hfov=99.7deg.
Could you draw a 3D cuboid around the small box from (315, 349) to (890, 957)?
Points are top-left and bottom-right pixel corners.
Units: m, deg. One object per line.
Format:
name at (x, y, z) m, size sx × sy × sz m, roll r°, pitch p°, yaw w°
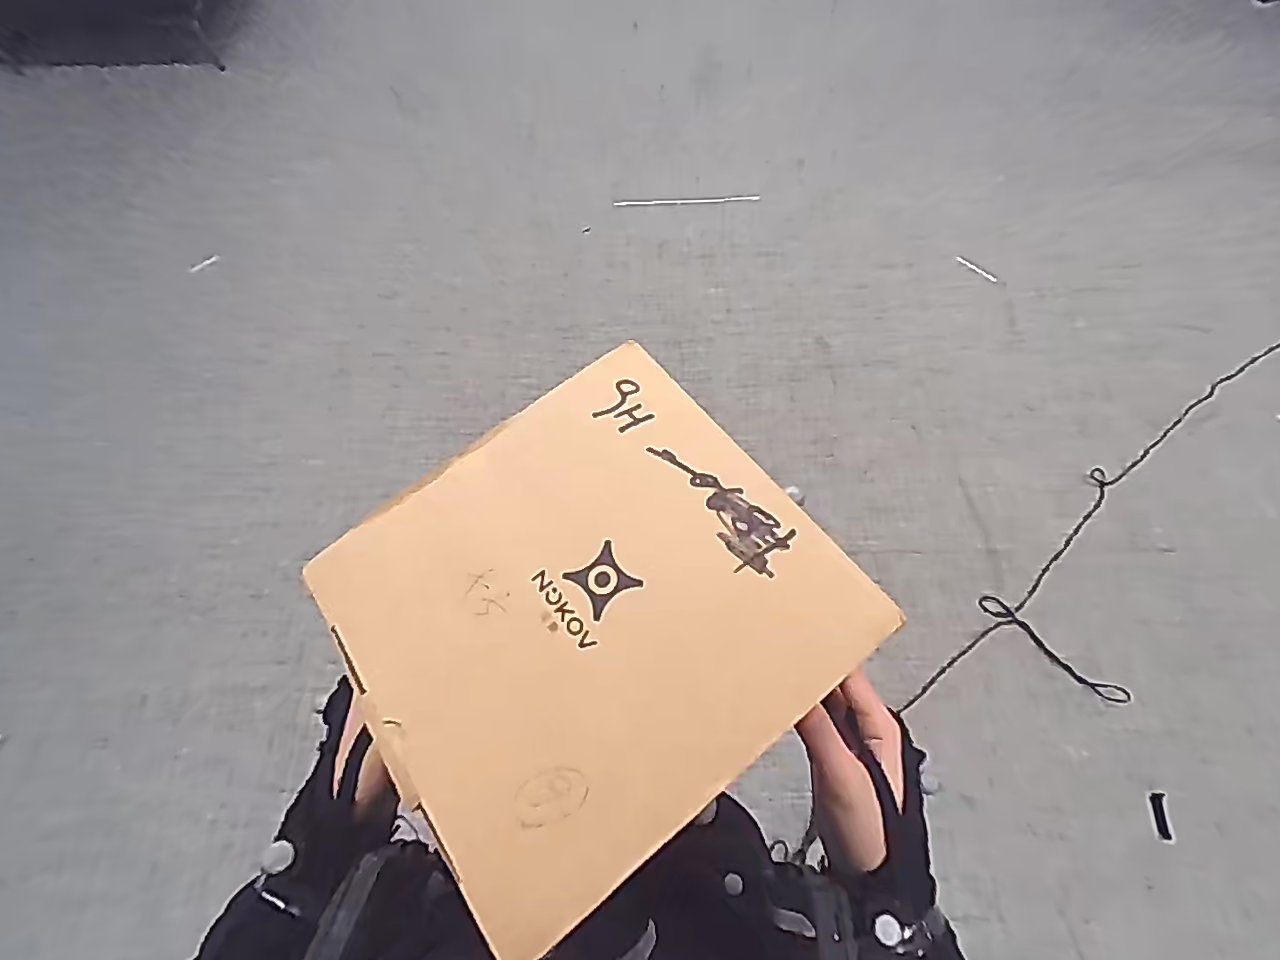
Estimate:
small box at (-0.014, 0.076, 0.284) m, size 0.179 × 0.176 × 0.168 m, roll -36°, pitch 68°, yaw -10°
